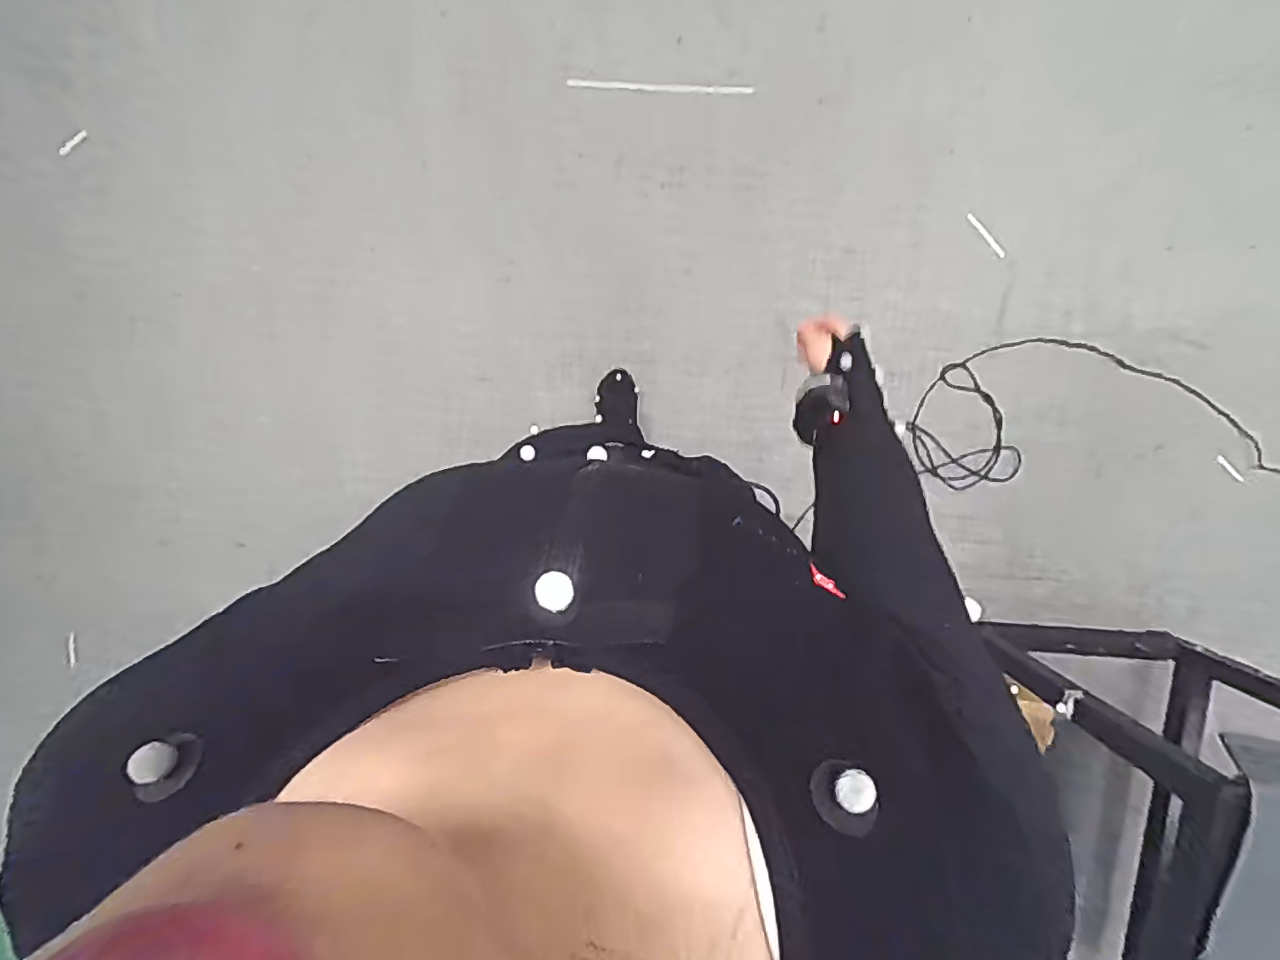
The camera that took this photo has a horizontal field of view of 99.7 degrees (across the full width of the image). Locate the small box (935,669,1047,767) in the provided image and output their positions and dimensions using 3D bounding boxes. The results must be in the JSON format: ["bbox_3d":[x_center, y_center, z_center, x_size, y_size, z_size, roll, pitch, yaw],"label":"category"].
[{"bbox_3d":[0.911,0.616,1.422,0.179,0.176,0.168,8,95,0],"label":"small box"}]
